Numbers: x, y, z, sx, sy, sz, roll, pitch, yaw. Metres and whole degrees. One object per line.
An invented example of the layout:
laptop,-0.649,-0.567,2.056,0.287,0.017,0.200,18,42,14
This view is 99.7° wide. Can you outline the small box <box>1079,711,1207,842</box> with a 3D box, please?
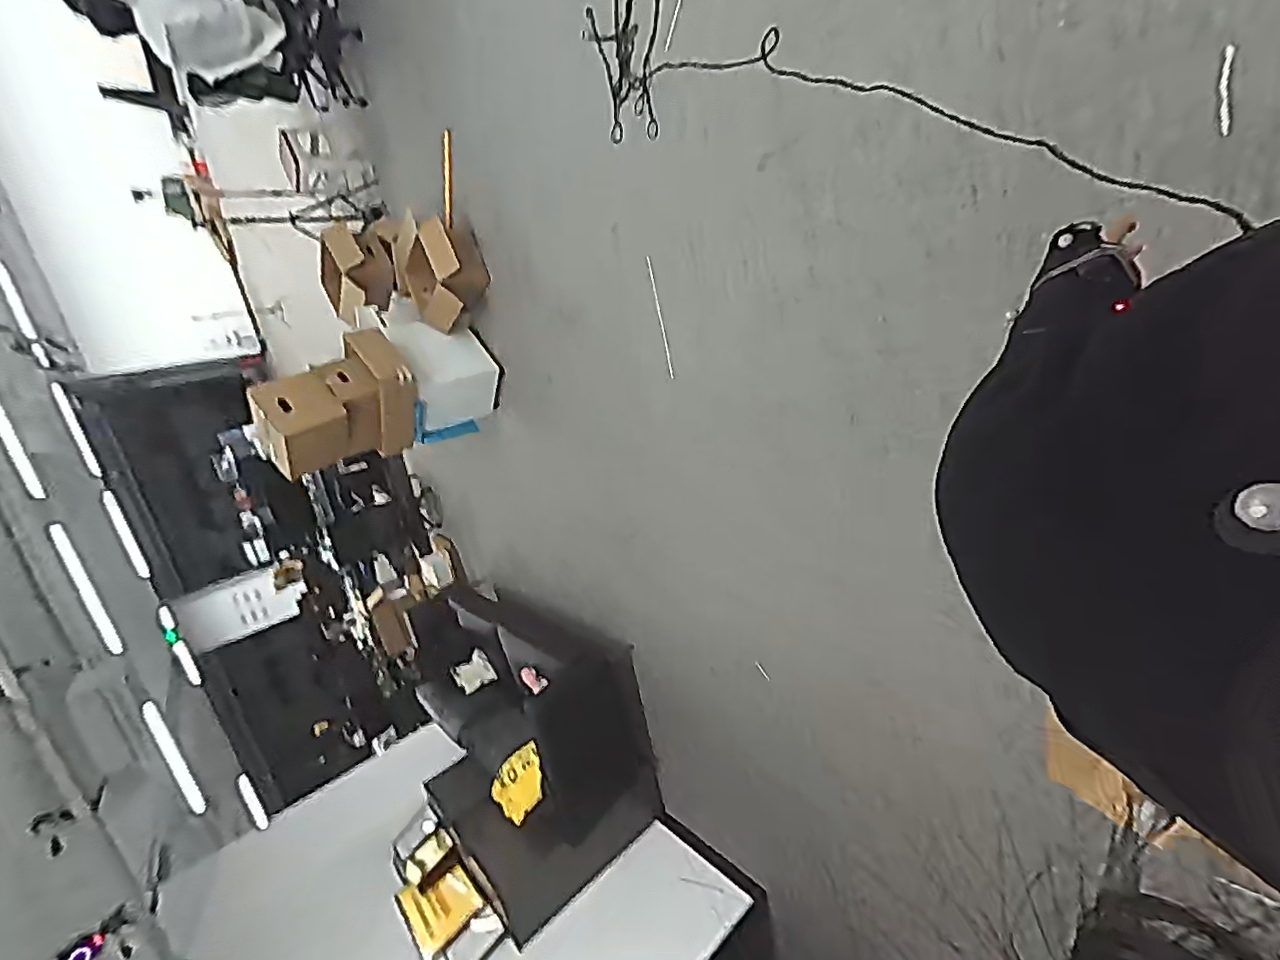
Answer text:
small box,1.200,0.700,1.290,0.168,0.176,0.179,29,130,40
